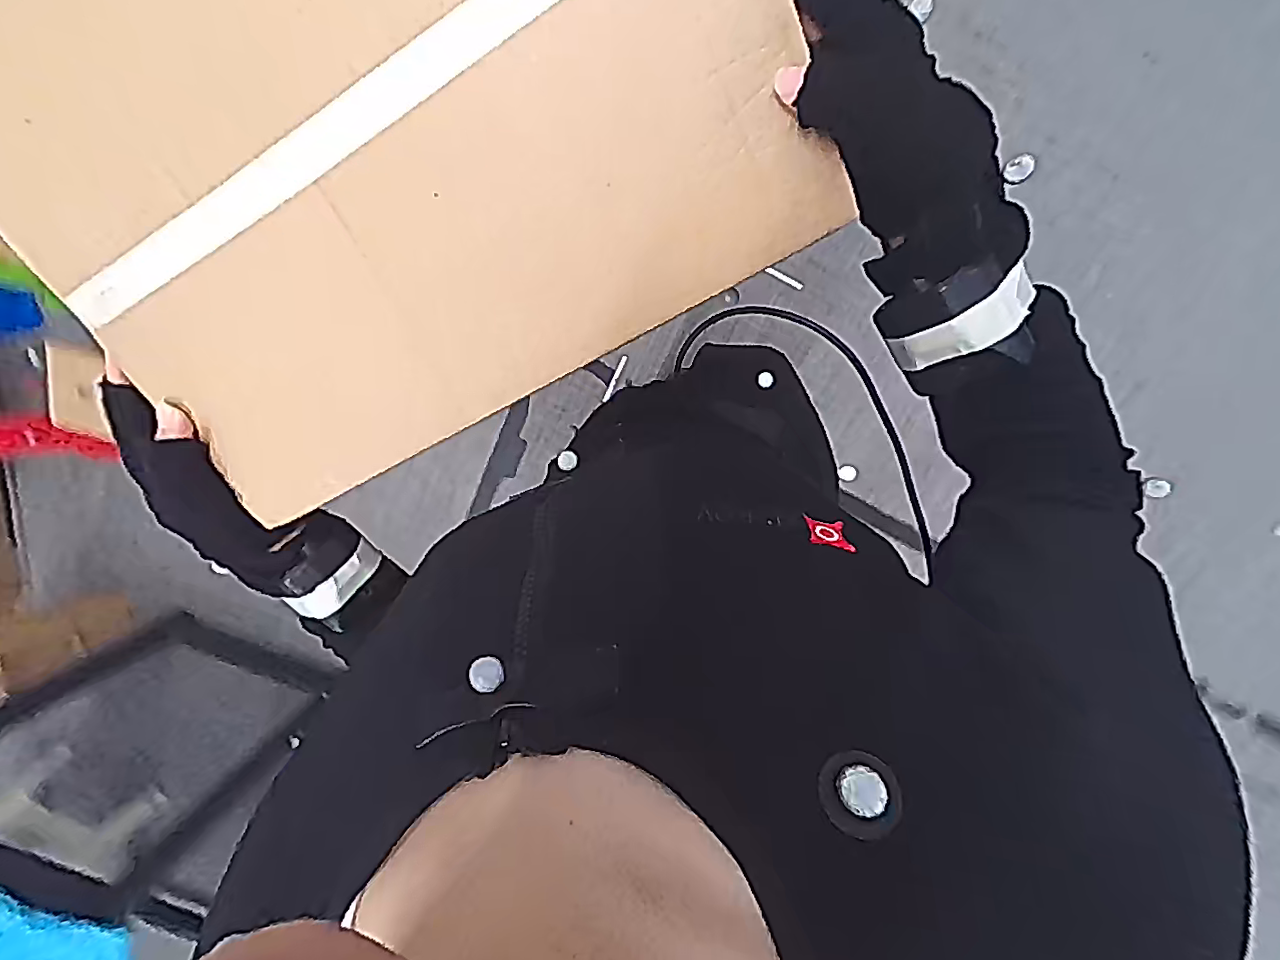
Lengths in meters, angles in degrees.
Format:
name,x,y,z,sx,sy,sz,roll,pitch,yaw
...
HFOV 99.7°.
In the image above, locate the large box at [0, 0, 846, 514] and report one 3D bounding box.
name,x,y,z,sx,sy,sz,roll,pitch,yaw
large box,-0.125,-0.241,0.412,0.408,0.320,0.320,-24,110,13
